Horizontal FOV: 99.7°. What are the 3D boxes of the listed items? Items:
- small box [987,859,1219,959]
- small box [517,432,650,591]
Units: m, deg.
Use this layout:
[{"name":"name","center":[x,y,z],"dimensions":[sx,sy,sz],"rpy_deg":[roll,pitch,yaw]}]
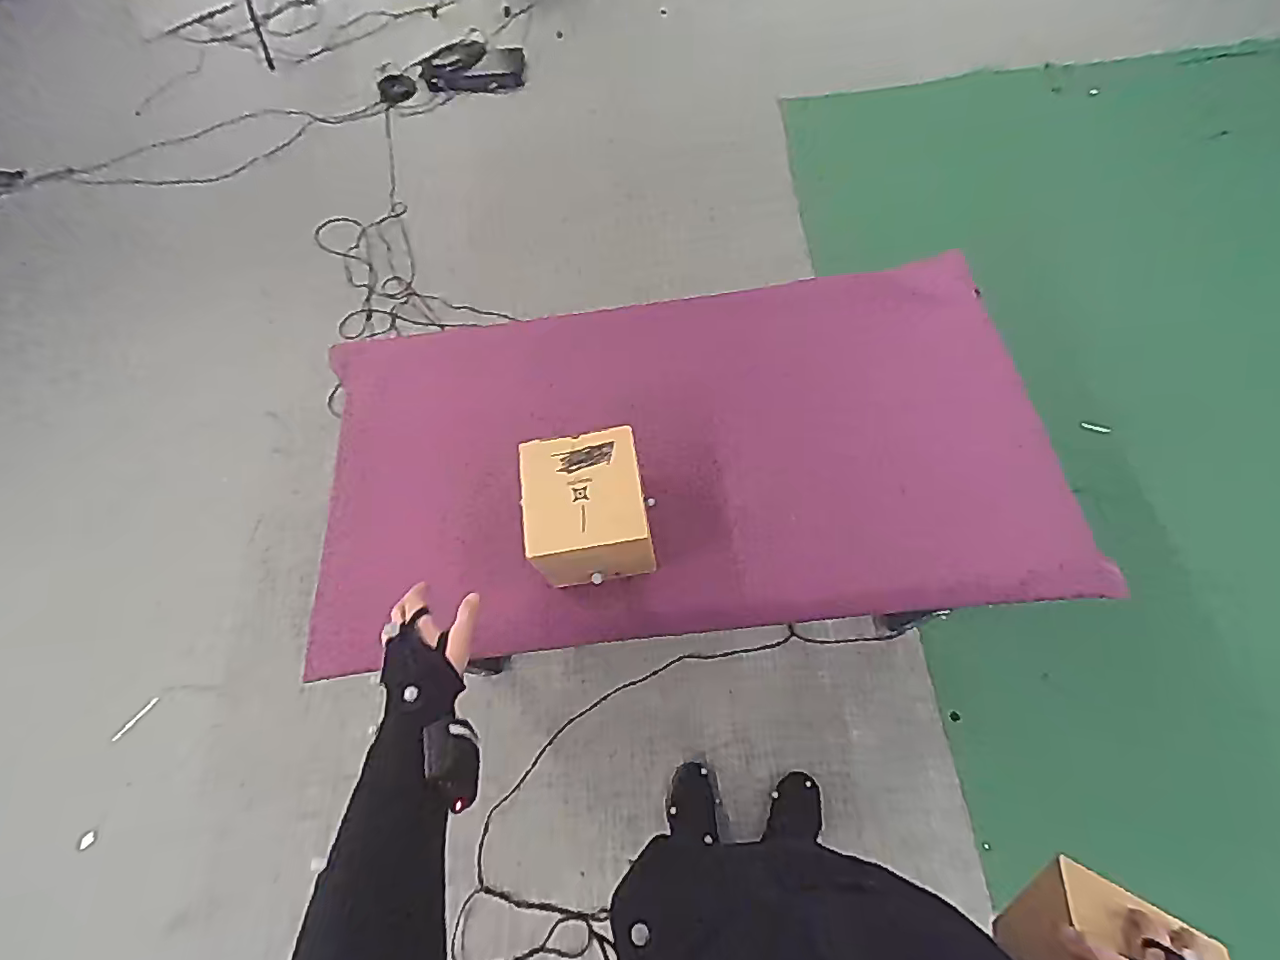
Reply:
[{"name":"small box","center":[0.509,0.588,0.596],"dimensions":[0.168,0.176,0.179],"rpy_deg":[25,29,22]},{"name":"small box","center":[-0.081,0.053,0.817],"dimensions":[0.168,0.176,0.179],"rpy_deg":[-10,65,1]}]
